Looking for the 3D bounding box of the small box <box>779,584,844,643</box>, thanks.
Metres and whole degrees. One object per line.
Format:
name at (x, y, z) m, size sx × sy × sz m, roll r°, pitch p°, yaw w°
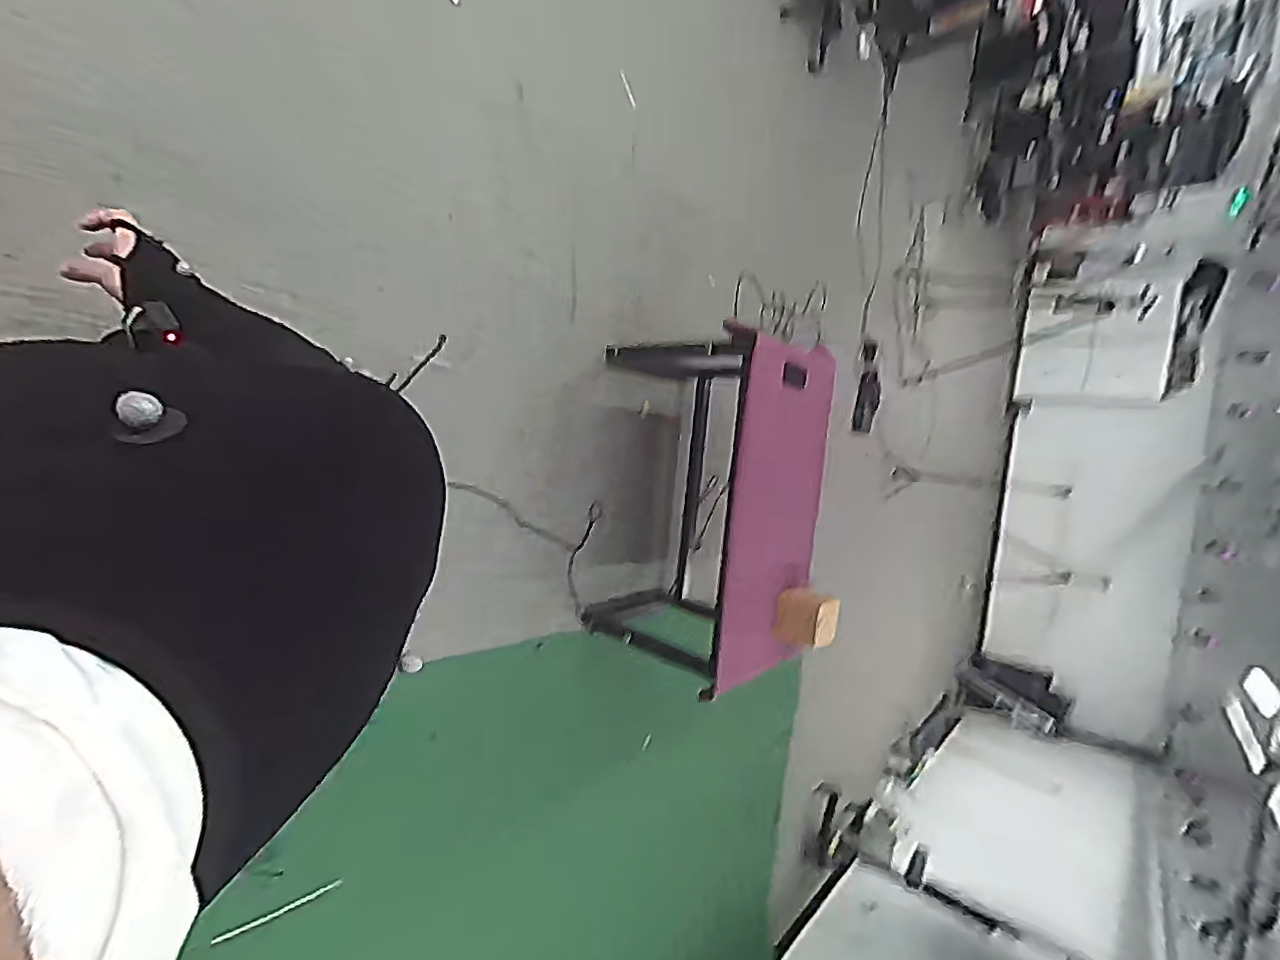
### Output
small box at (0.653, 0.501, 2.063) m, size 0.179 × 0.176 × 0.168 m, roll 2°, pitch 95°, yaw -47°
